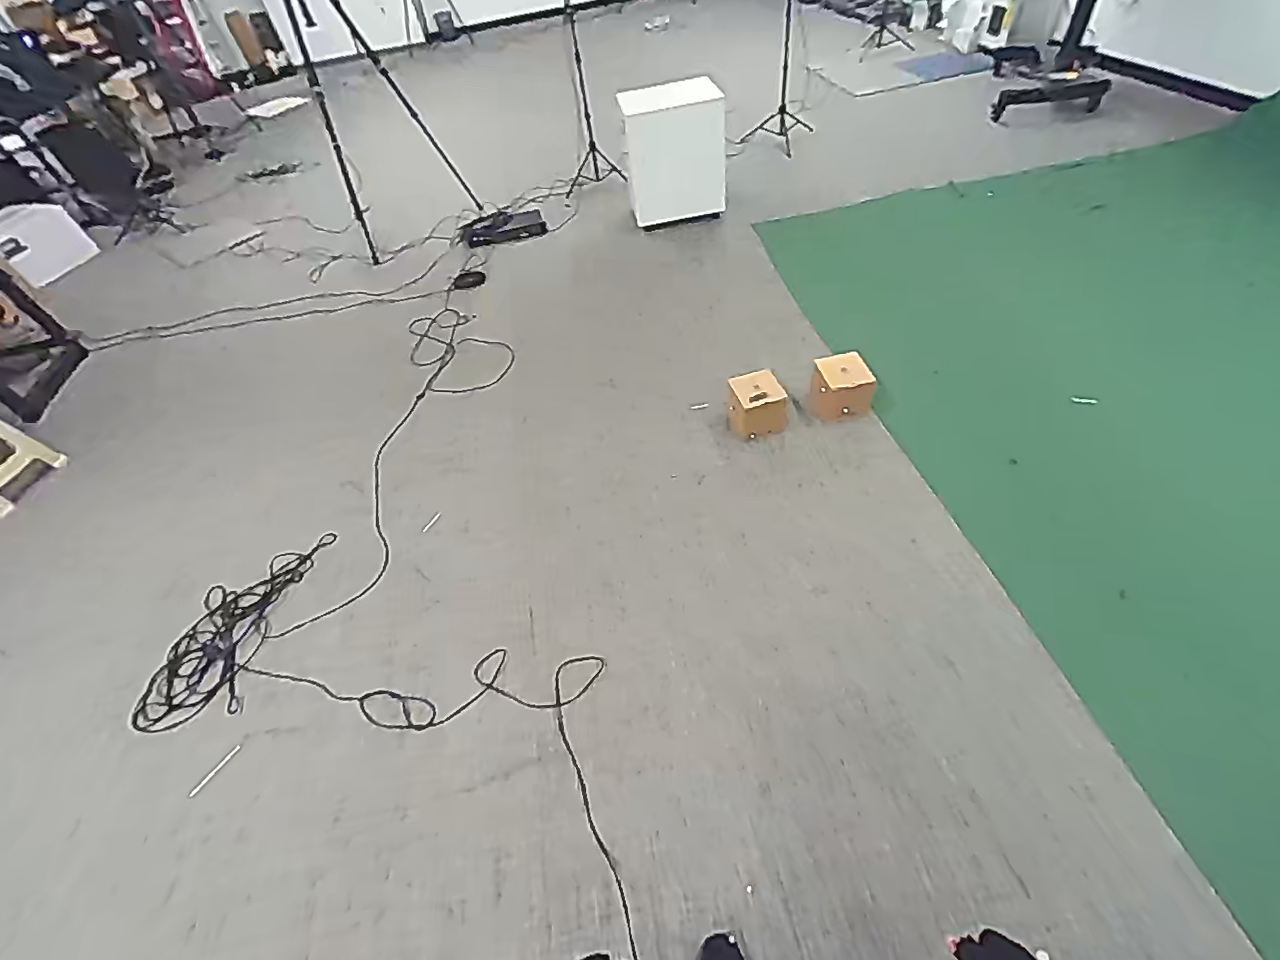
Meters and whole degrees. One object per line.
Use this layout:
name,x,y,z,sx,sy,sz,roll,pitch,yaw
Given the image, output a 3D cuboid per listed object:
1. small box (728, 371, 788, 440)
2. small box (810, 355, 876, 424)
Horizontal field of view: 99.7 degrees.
small box,0.432,-0.269,2.005,0.168,0.176,0.179,-15,49,-5
small box,0.749,-0.336,2.017,0.168,0.176,0.179,-12,50,-1
